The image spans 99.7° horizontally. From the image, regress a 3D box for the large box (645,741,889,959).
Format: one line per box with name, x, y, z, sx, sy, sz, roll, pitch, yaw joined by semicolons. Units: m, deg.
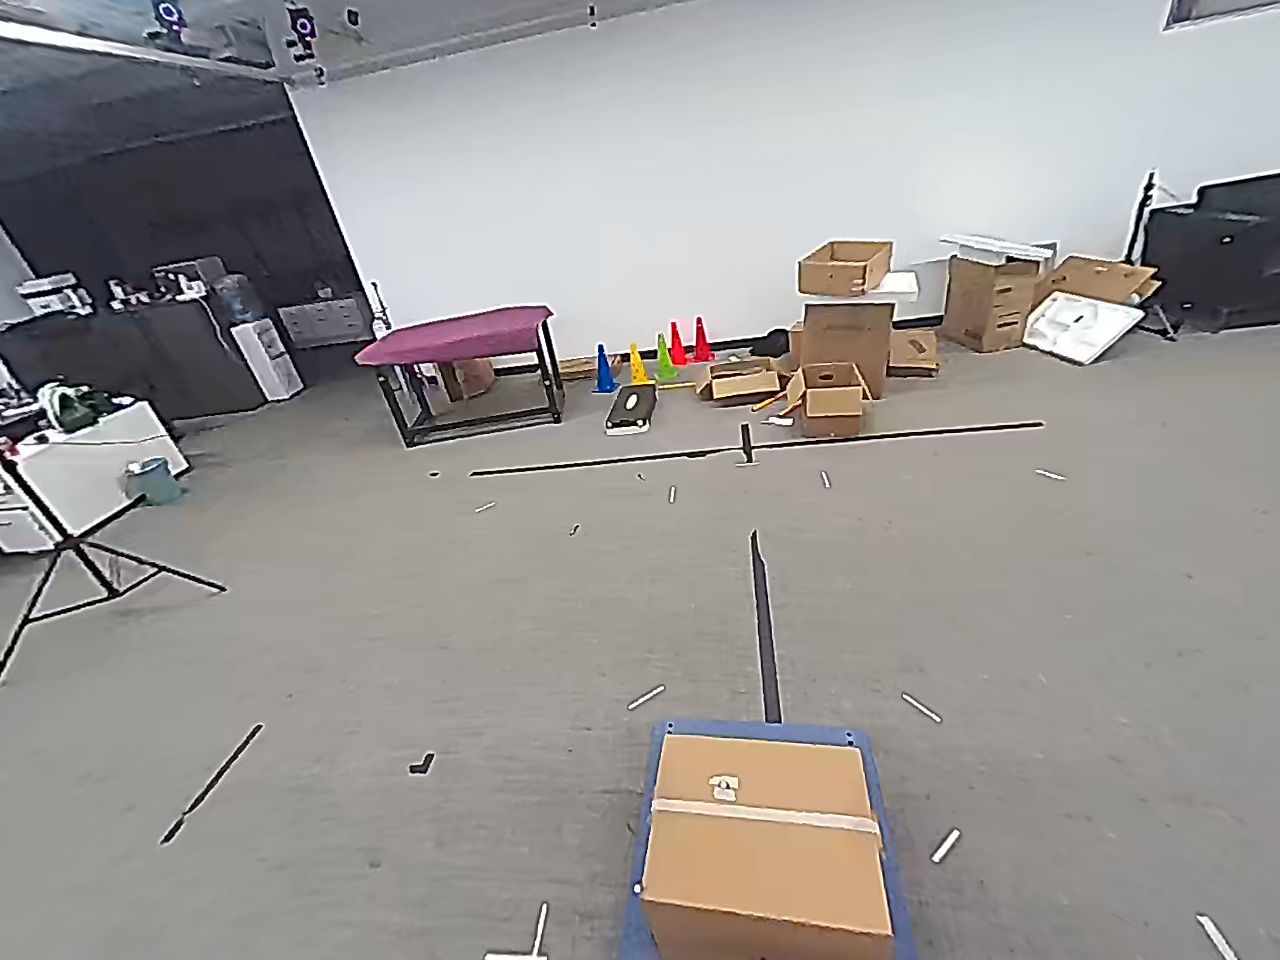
large box;0.251;0.765;1.093;0.408;0.320;0.320;-4;29;13
